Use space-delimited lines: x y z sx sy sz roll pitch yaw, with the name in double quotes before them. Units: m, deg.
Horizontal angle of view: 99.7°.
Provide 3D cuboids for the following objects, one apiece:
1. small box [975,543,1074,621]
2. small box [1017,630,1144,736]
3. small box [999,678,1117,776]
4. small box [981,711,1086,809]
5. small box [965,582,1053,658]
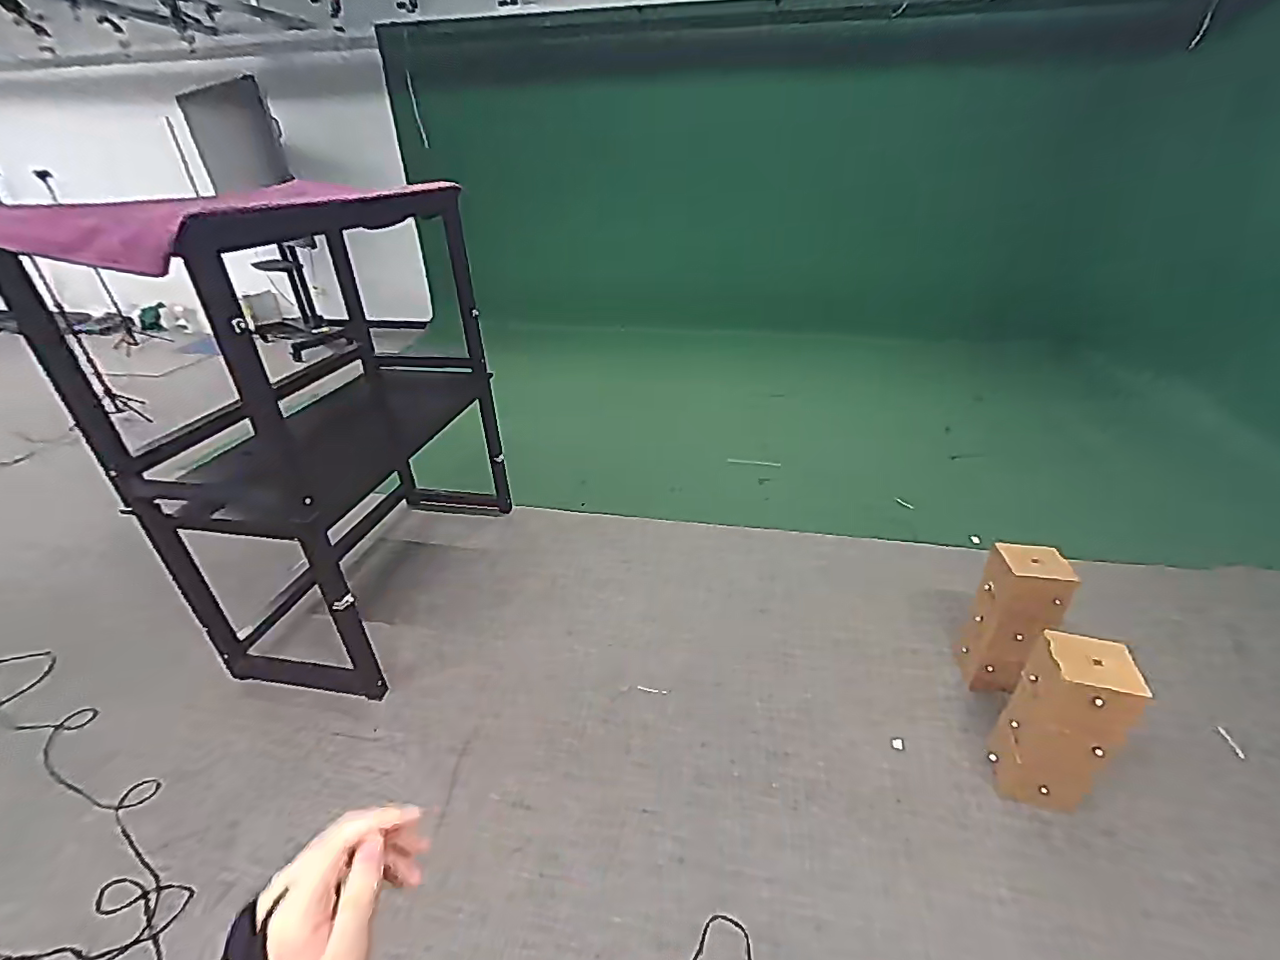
"small box" 1.175 0.316 1.668 0.179 0.176 0.168 3 30 8
"small box" 1.088 0.509 1.352 0.179 0.176 0.168 8 33 15
"small box" 1.095 0.650 1.432 0.179 0.176 0.168 7 32 13
"small box" 1.095 0.789 1.520 0.179 0.176 0.168 7 32 15
"small box" 1.182 0.454 1.754 0.179 0.176 0.168 3 31 8
